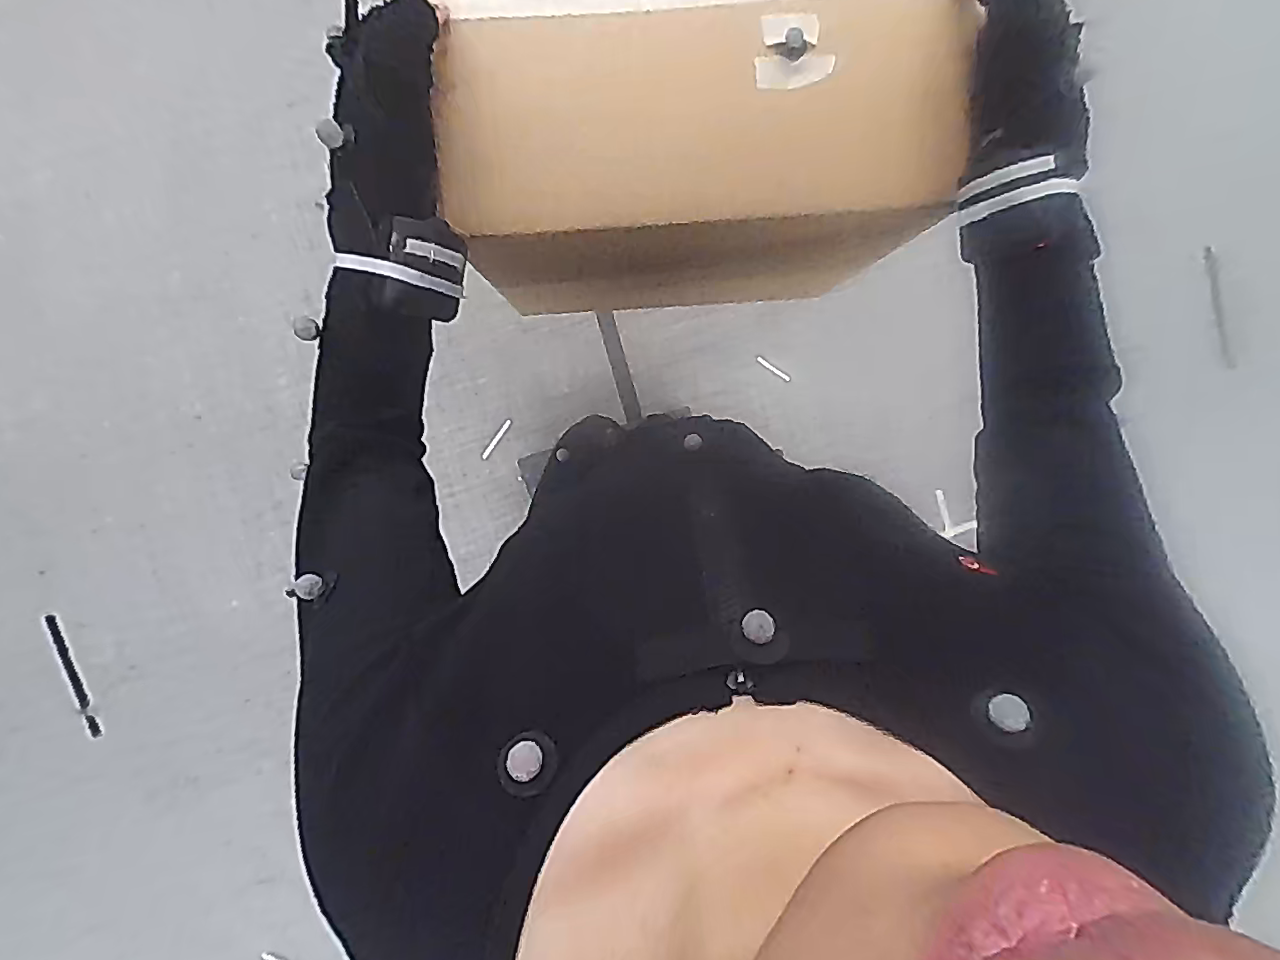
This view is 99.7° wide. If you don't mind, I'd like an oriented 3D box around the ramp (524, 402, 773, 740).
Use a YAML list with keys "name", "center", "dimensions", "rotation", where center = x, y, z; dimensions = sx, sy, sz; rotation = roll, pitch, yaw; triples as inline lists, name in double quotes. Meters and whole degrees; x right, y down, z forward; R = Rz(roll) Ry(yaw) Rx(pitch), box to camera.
- name: "ramp"
  center: [0.060, 0.311, 1.604]
  dimensions: [0.509, 0.206, 0.991]
  rotation: [-20, 96, -1]

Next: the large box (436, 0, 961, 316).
- name: "large box"
  center: [0.039, -0.370, 0.558]
  dimensions: [0.408, 0.320, 0.320]
  rotation: [-4, 96, -1]
